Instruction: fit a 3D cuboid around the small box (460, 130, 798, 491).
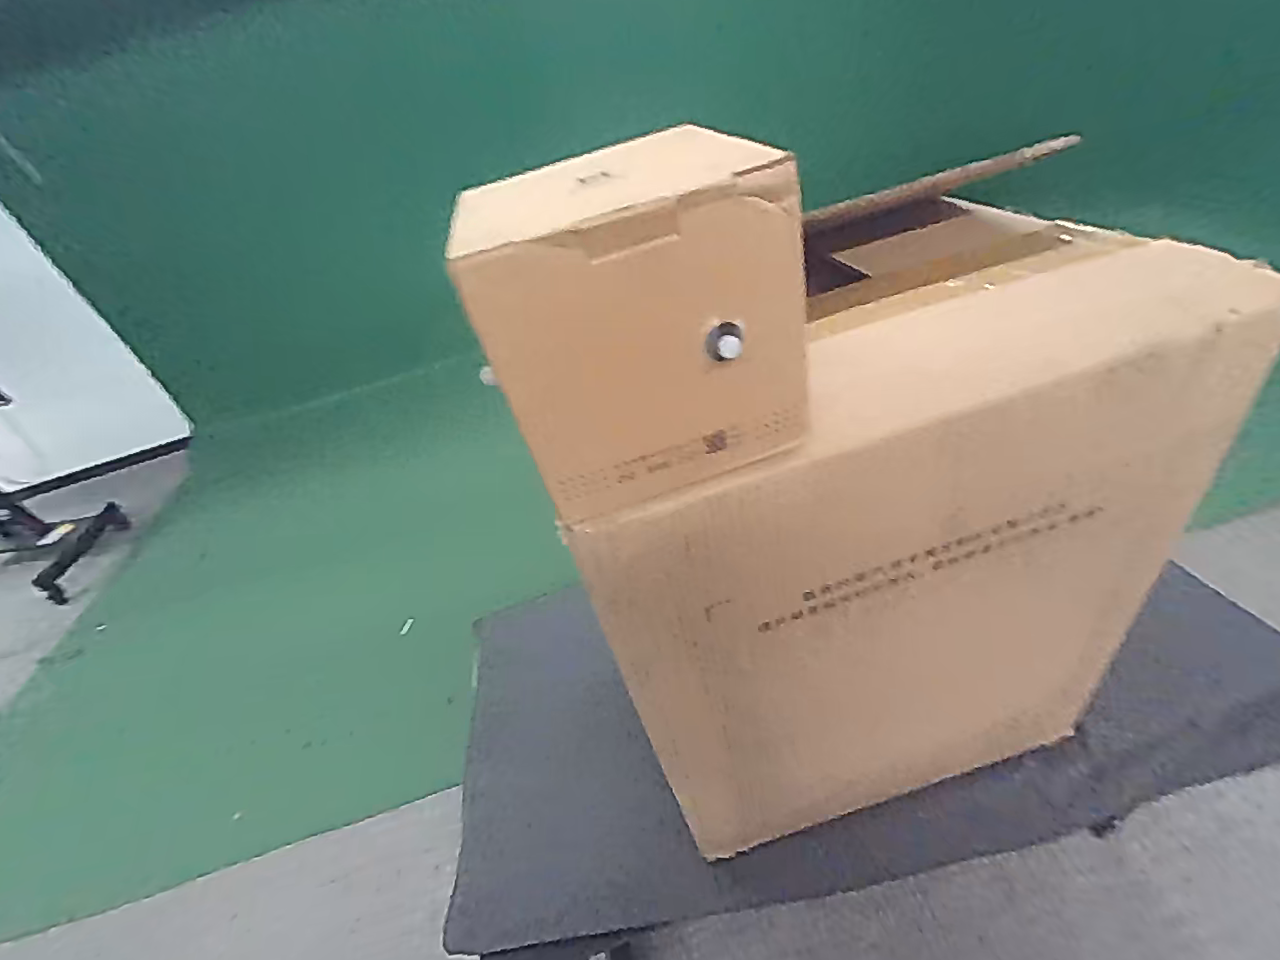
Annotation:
[{"bbox_3d":[-0.004,-0.111,0.365,0.168,0.176,0.179,-18,37,-2],"label":"small box"}]
